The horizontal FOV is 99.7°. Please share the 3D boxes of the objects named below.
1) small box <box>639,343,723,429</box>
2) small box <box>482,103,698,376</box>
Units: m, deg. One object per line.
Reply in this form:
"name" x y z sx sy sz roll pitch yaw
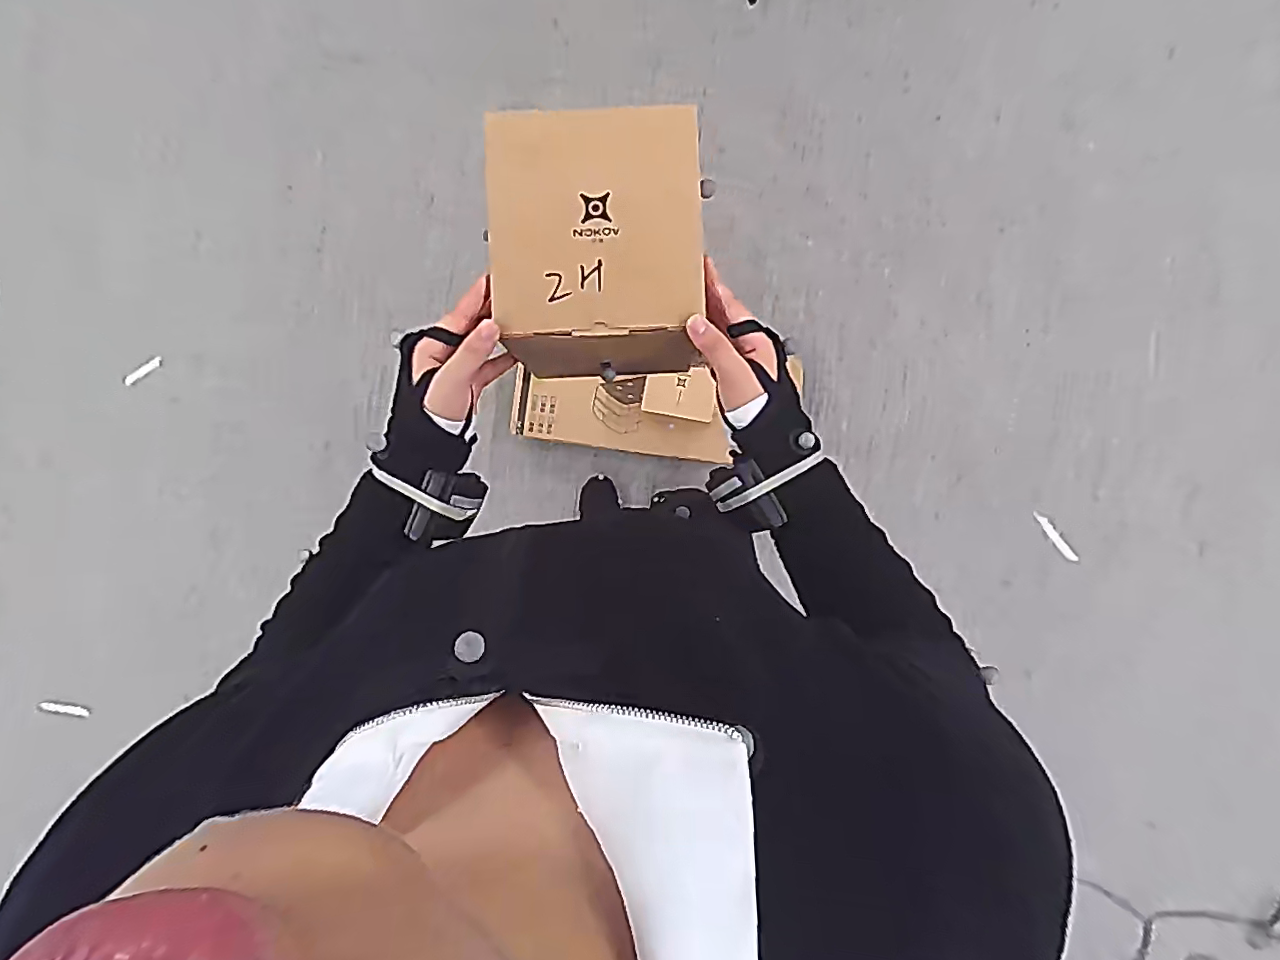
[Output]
"small box" 0.097 -0.230 1.314 0.168 0.176 0.179 12 91 3
"small box" -0.040 -0.202 0.497 0.168 0.176 0.179 -3 90 0
